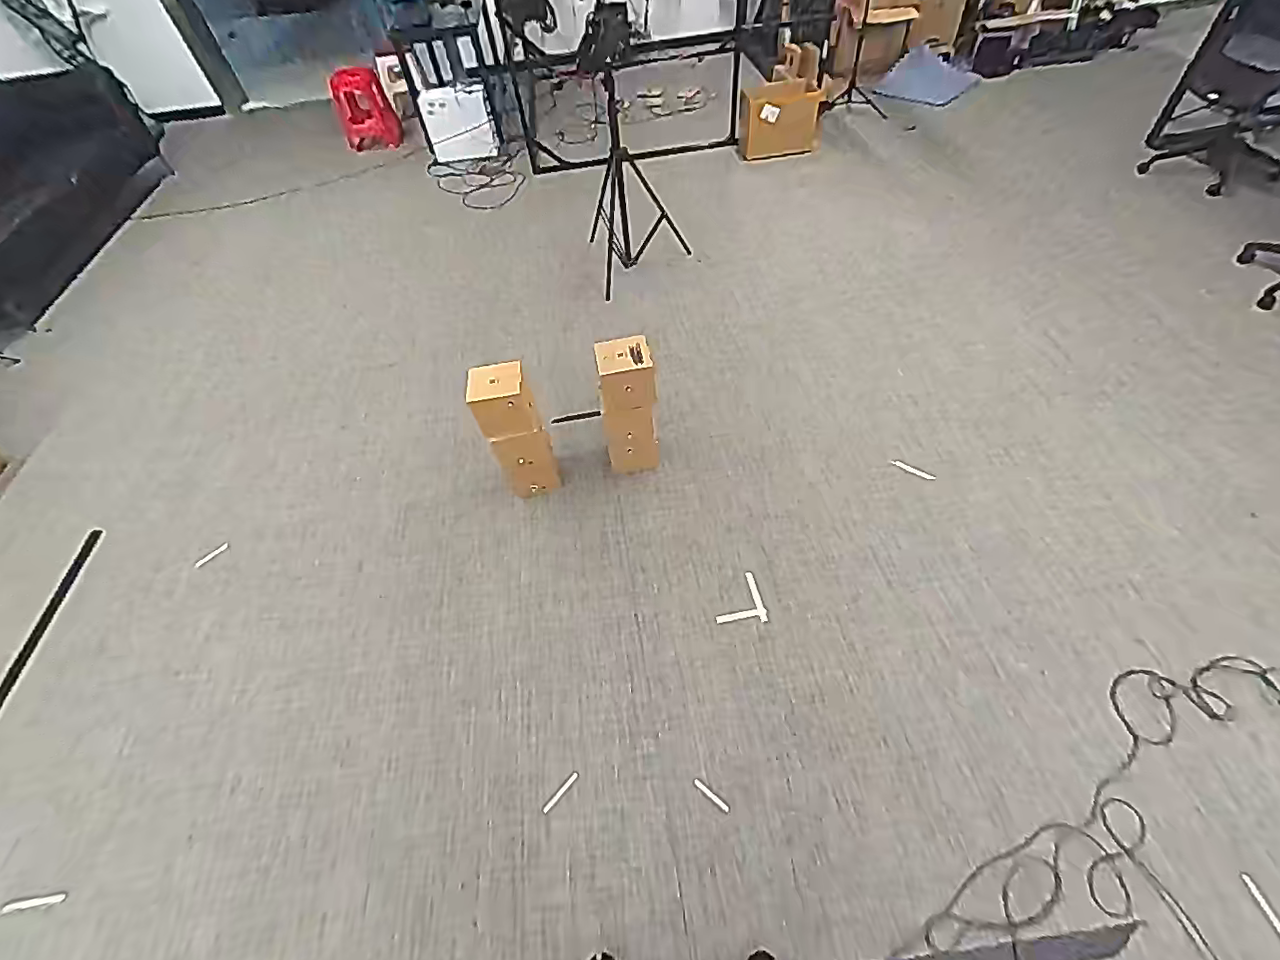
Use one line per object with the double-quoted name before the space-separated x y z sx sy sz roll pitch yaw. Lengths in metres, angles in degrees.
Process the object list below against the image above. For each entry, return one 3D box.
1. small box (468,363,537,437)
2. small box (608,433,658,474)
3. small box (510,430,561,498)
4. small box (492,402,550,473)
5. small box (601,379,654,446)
"small box" -0.452 -0.259 1.796 0.179 0.176 0.168 -9 52 0
"small box" -0.030 -0.139 2.071 0.179 0.176 0.168 -8 52 -1
"small box" -0.403 -0.058 2.049 0.168 0.176 0.179 -14 52 -4
"small box" -0.423 -0.153 1.916 0.168 0.176 0.179 -13 53 -3
"small box" -0.044 -0.240 1.943 0.179 0.176 0.168 -7 51 -1
